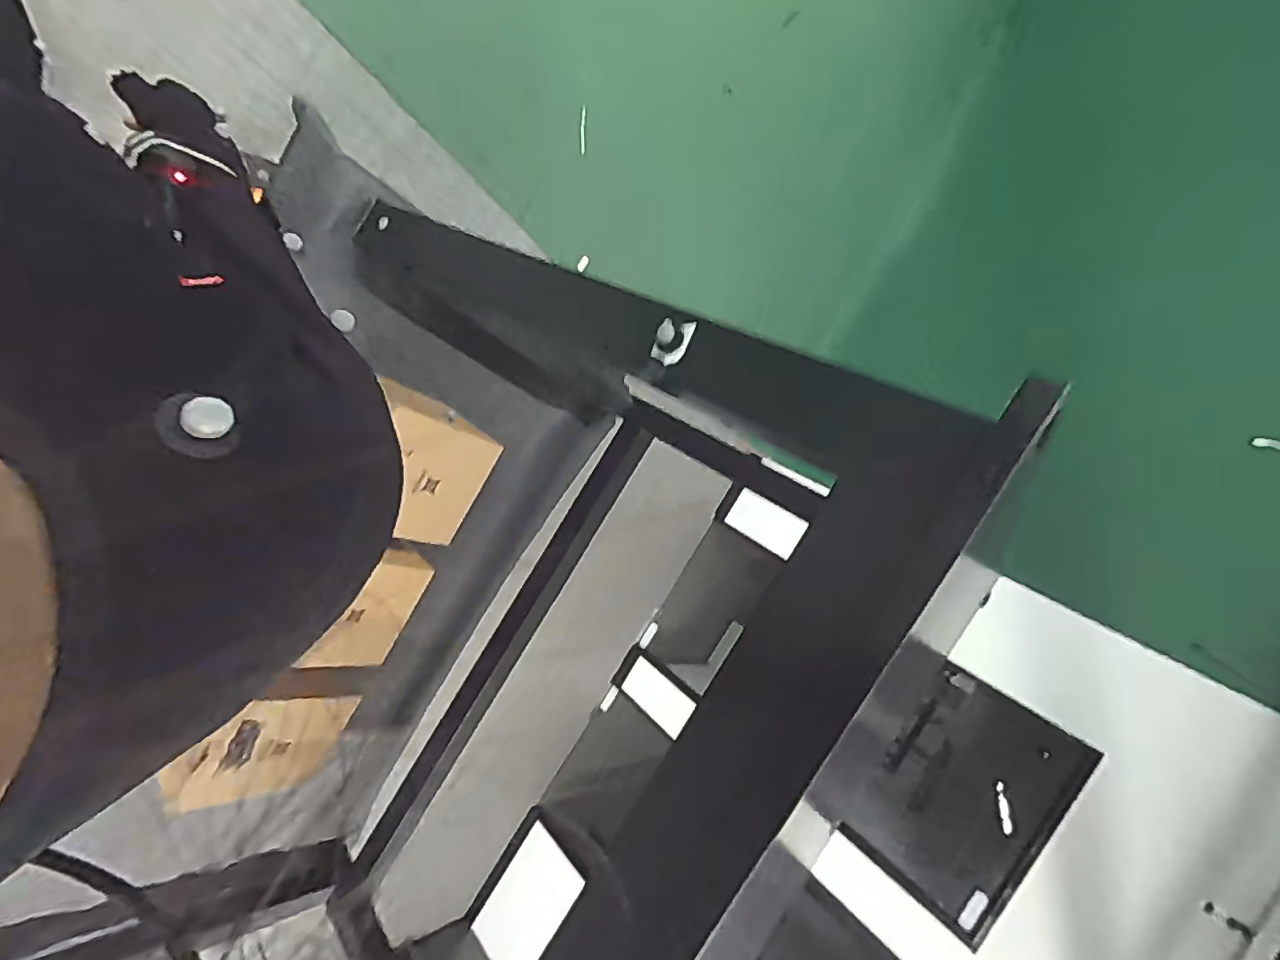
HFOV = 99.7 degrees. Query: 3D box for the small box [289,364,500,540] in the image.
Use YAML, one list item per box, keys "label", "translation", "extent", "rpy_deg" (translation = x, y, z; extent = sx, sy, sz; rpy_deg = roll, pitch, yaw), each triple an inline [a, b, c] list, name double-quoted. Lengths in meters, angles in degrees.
- label: "small box"
  translation: [-0.338, -0.039, 0.749]
  extent: [0.179, 0.176, 0.168]
  rpy_deg: [26, 95, -56]
